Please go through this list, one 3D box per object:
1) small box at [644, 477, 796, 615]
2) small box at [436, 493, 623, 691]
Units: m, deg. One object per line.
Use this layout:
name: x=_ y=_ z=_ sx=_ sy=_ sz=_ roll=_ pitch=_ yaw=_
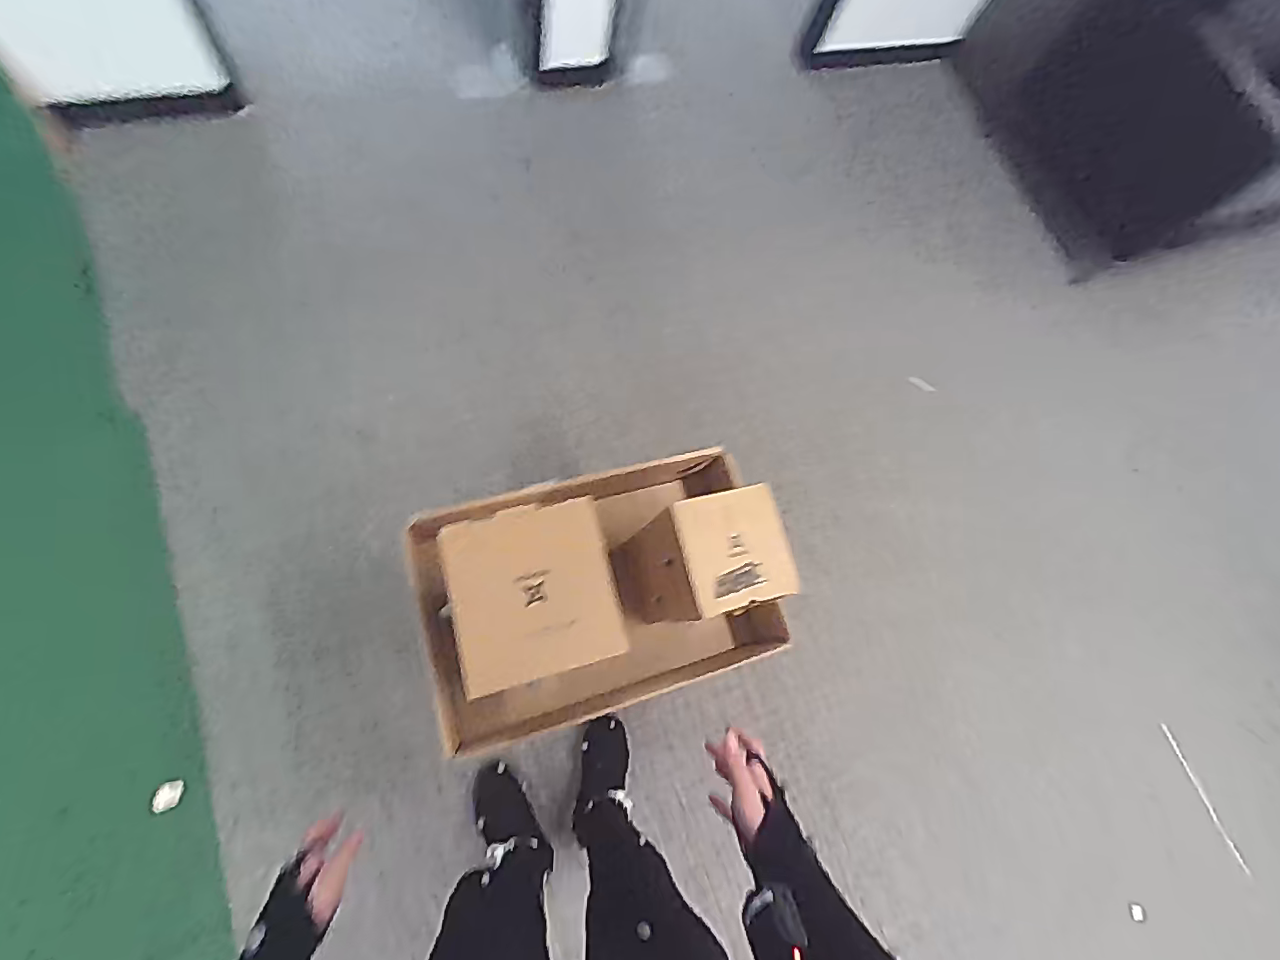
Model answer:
small box: x=0.119 y=0.114 z=0.876 sx=0.168 sy=0.176 sz=0.179 roll=-12 pitch=76 yaw=-17
small box: x=-0.131 y=0.134 z=0.638 sx=0.168 sy=0.176 sz=0.179 roll=-13 pitch=76 yaw=-15
